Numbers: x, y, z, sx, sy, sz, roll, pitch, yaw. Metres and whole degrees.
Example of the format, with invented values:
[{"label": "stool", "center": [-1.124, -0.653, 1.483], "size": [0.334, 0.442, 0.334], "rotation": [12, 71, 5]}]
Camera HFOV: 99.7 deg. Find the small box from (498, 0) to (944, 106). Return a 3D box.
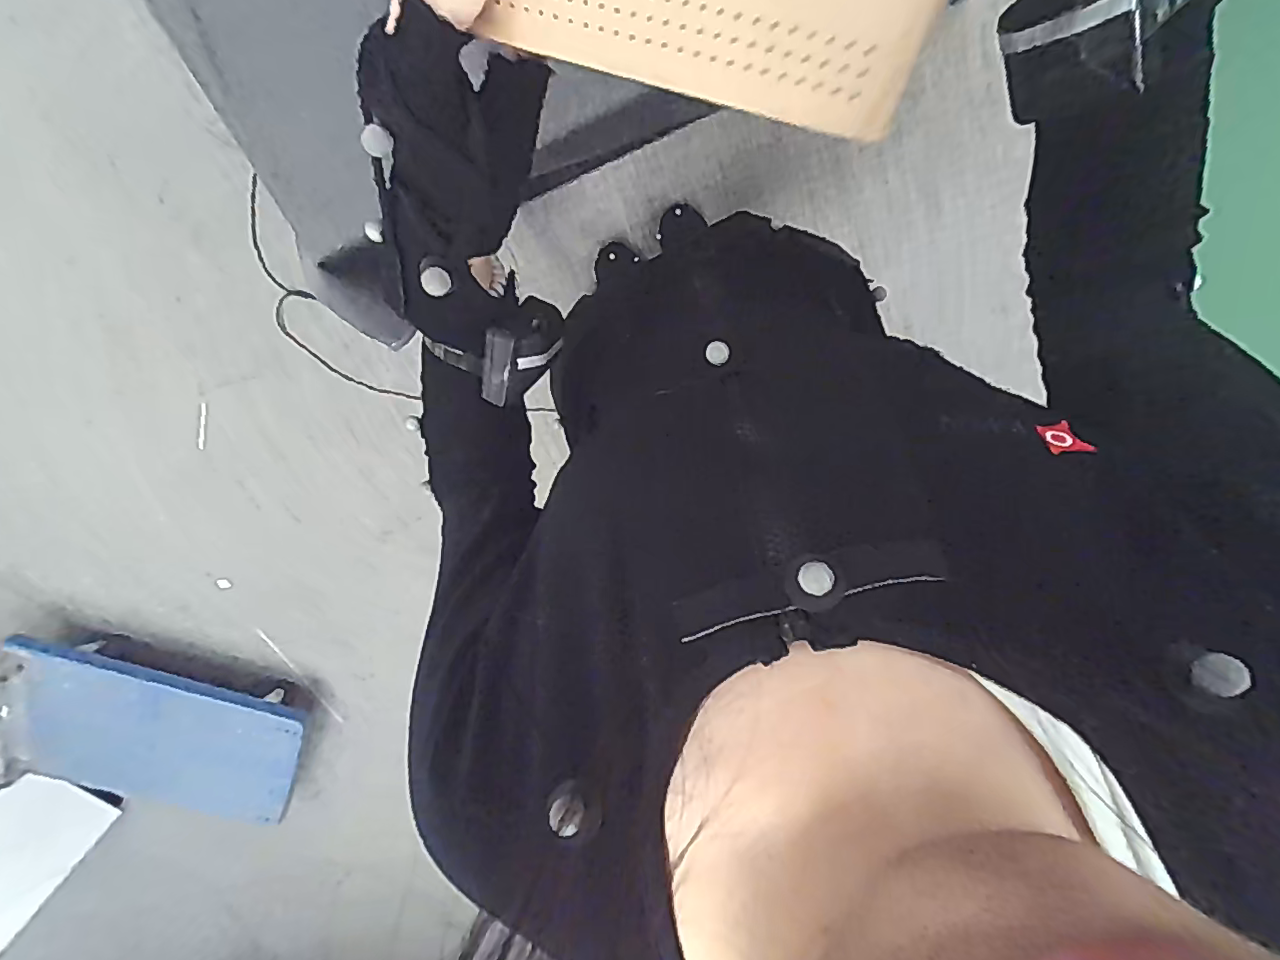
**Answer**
[{"label": "small box", "center": [0.044, -0.260, 0.171], "size": [0.179, 0.168, 0.176], "rotation": [24, 157, 10]}]
